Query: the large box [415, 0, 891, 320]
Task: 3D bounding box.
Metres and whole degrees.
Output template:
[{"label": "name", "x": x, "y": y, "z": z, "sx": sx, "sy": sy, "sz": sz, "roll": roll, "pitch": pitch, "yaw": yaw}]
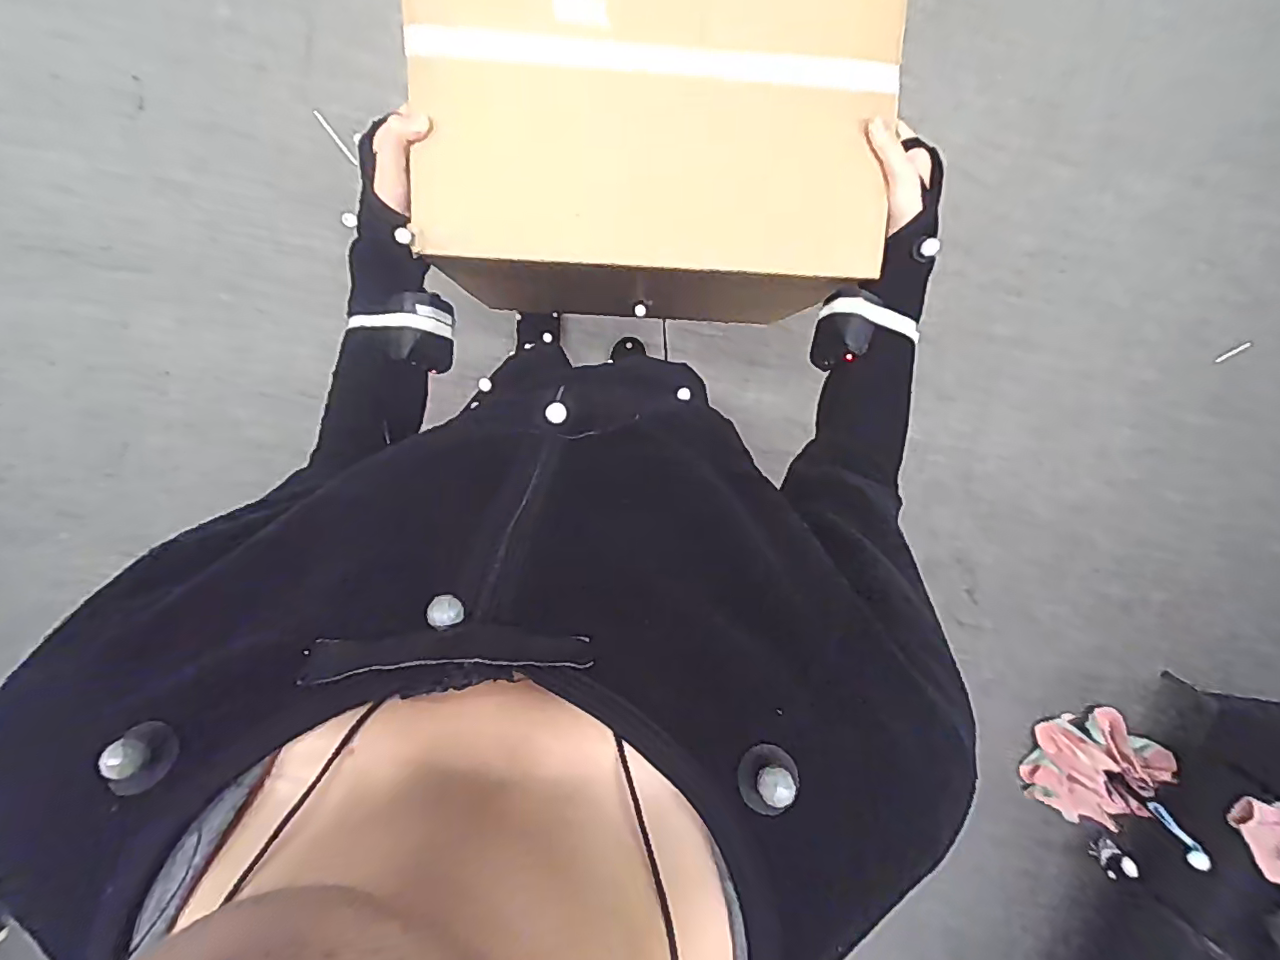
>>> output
[{"label": "large box", "x": 0.006, "y": -0.358, "z": 0.604, "sx": 0.408, "sy": 0.320, "sz": 0.320, "roll": 1, "pitch": 98, "yaw": -4}]
